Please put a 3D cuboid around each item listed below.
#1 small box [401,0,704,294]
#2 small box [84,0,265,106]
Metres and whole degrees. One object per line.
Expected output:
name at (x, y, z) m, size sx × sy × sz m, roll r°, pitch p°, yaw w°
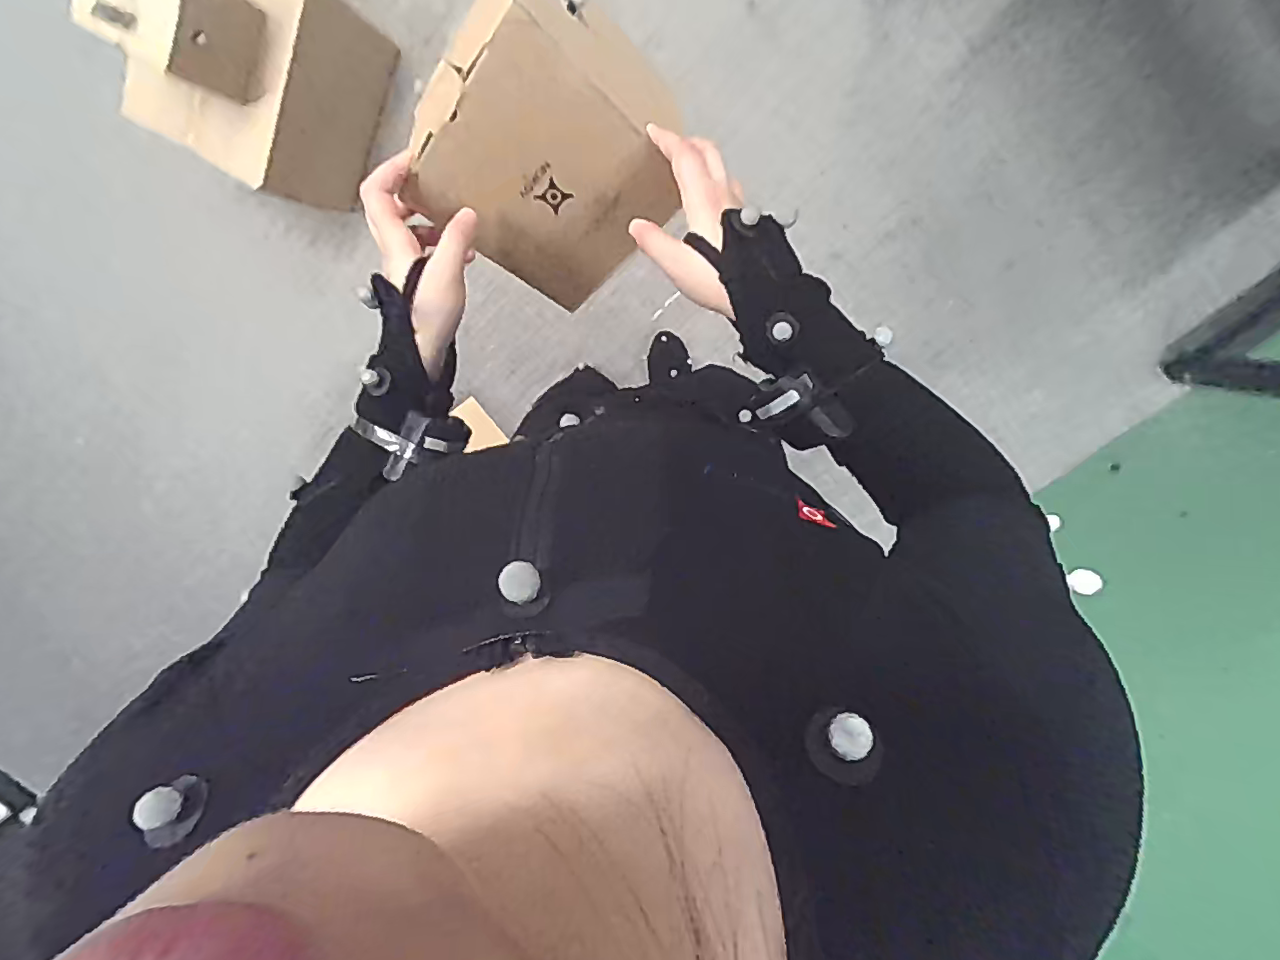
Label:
small box at (-0.070, -0.306, 0.458) m, size 0.179 × 0.176 × 0.168 m, roll 24°, pitch 140°, yaw -38°
small box at (-0.810, -0.810, 0.956) m, size 0.168 × 0.176 × 0.179 m, roll 28°, pitch 109°, yaw -4°
